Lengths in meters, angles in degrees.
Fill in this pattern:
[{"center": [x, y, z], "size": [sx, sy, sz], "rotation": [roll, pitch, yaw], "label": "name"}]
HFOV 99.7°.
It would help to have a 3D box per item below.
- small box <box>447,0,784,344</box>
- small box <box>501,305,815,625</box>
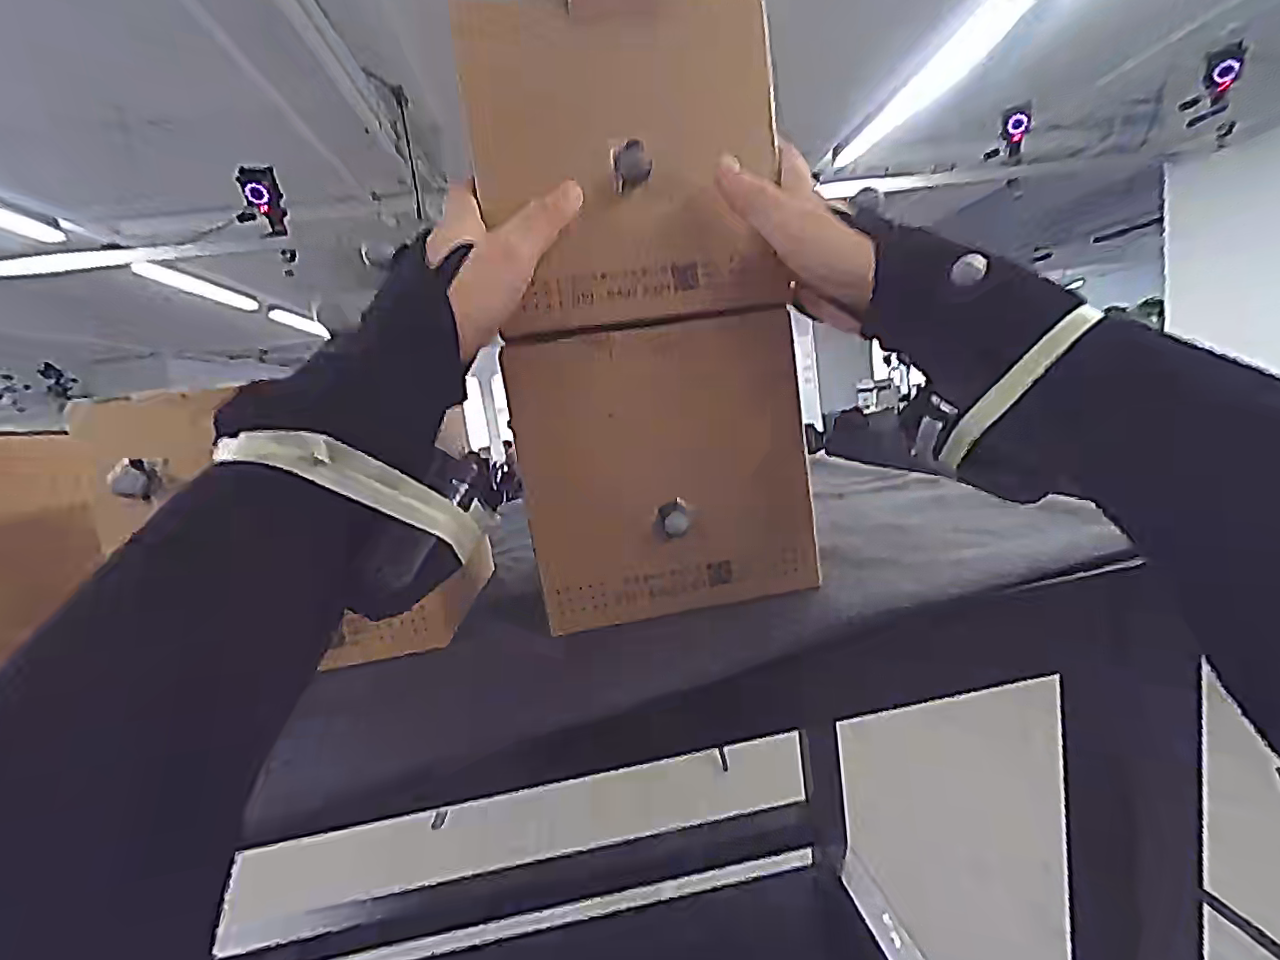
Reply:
[{"center": [-0.015, -0.176, 0.364], "size": [0.168, 0.176, 0.179], "rotation": [-8, 8, -7], "label": "small box"}, {"center": [0.009, -0.014, 0.391], "size": [0.168, 0.176, 0.179], "rotation": [-11, 8, -5], "label": "small box"}]
